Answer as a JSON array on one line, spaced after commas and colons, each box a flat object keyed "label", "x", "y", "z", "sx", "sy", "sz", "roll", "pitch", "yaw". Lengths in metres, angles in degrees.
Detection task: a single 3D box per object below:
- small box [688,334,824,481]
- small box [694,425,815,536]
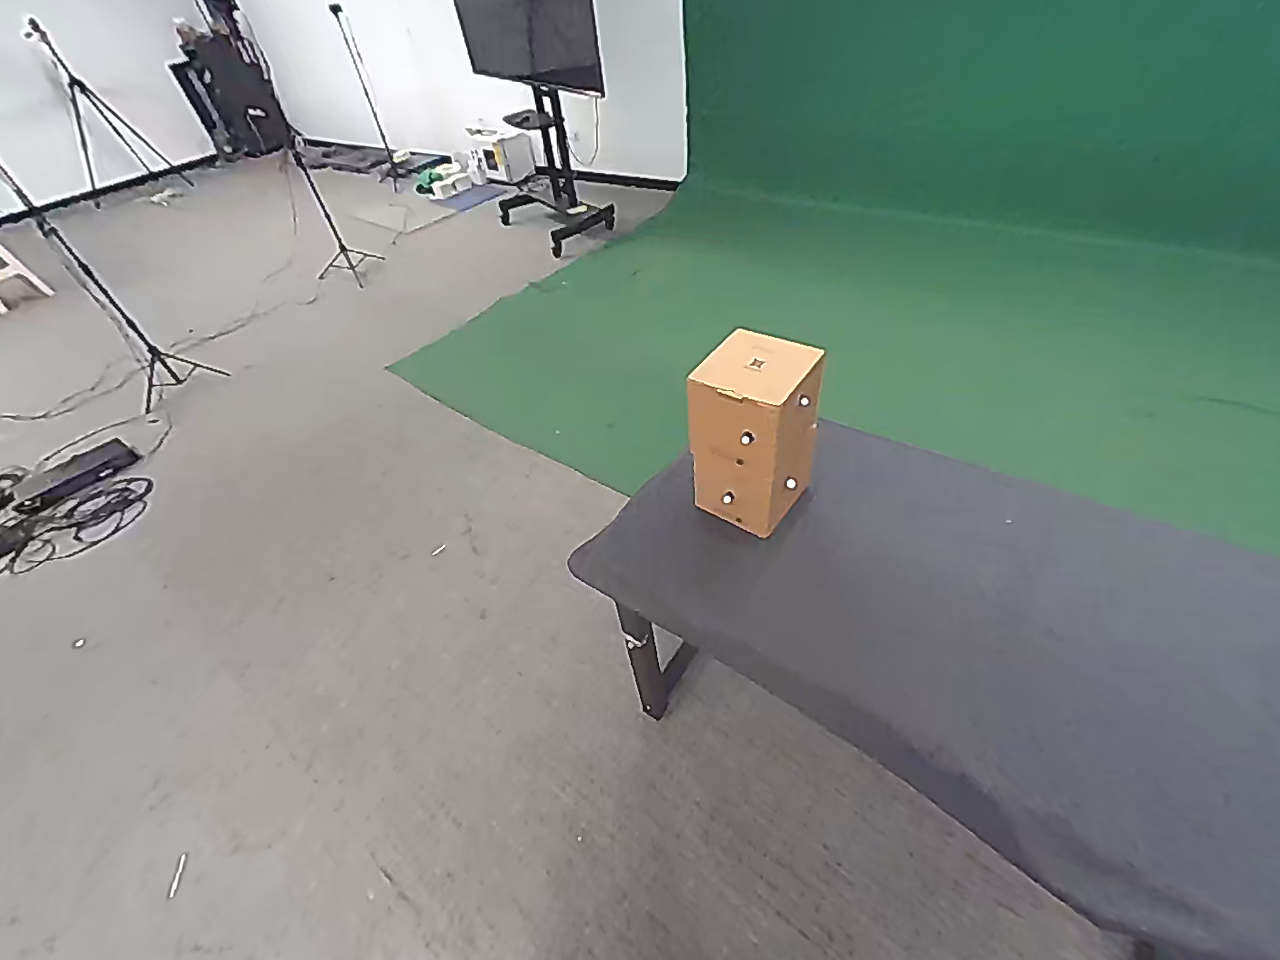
[{"label": "small box", "x": 0.201, "y": -0.126, "z": 0.946, "sx": 0.168, "sy": 0.176, "sz": 0.179, "roll": 24, "pitch": 52, "yaw": 28}, {"label": "small box", "x": 0.226, "y": -0.020, "z": 1.068, "sx": 0.168, "sy": 0.176, "sz": 0.179, "roll": 26, "pitch": 54, "yaw": 29}]
